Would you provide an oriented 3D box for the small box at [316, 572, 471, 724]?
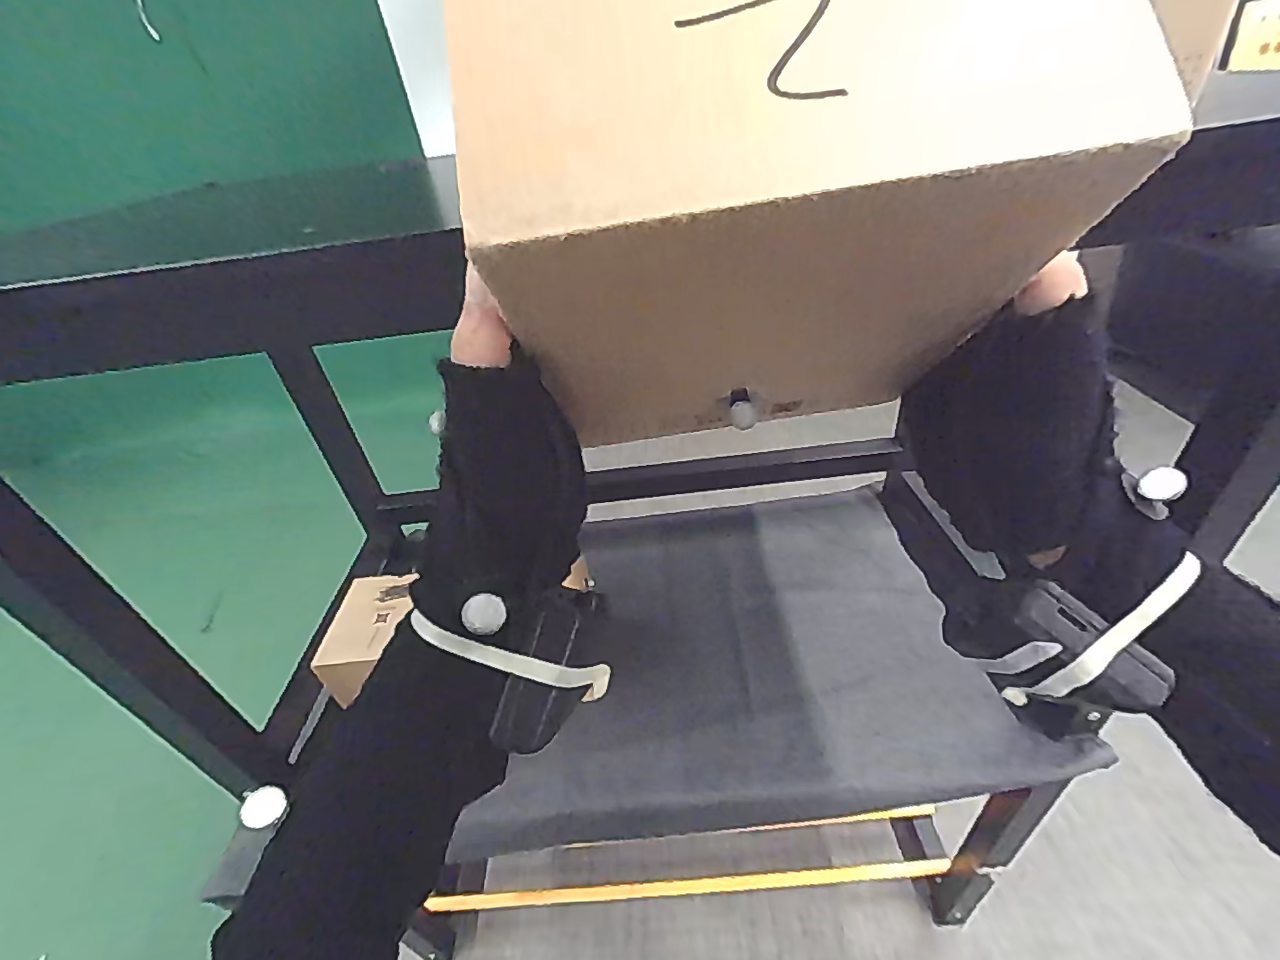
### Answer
[{"bbox_3d":[-0.393,0.279,0.907,0.168,0.176,0.179,-6,36,2],"label":"small box"}]

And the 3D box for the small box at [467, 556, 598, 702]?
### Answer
[{"bbox_3d":[-0.167,0.253,0.905,0.168,0.176,0.179,-5,35,3],"label":"small box"}]
